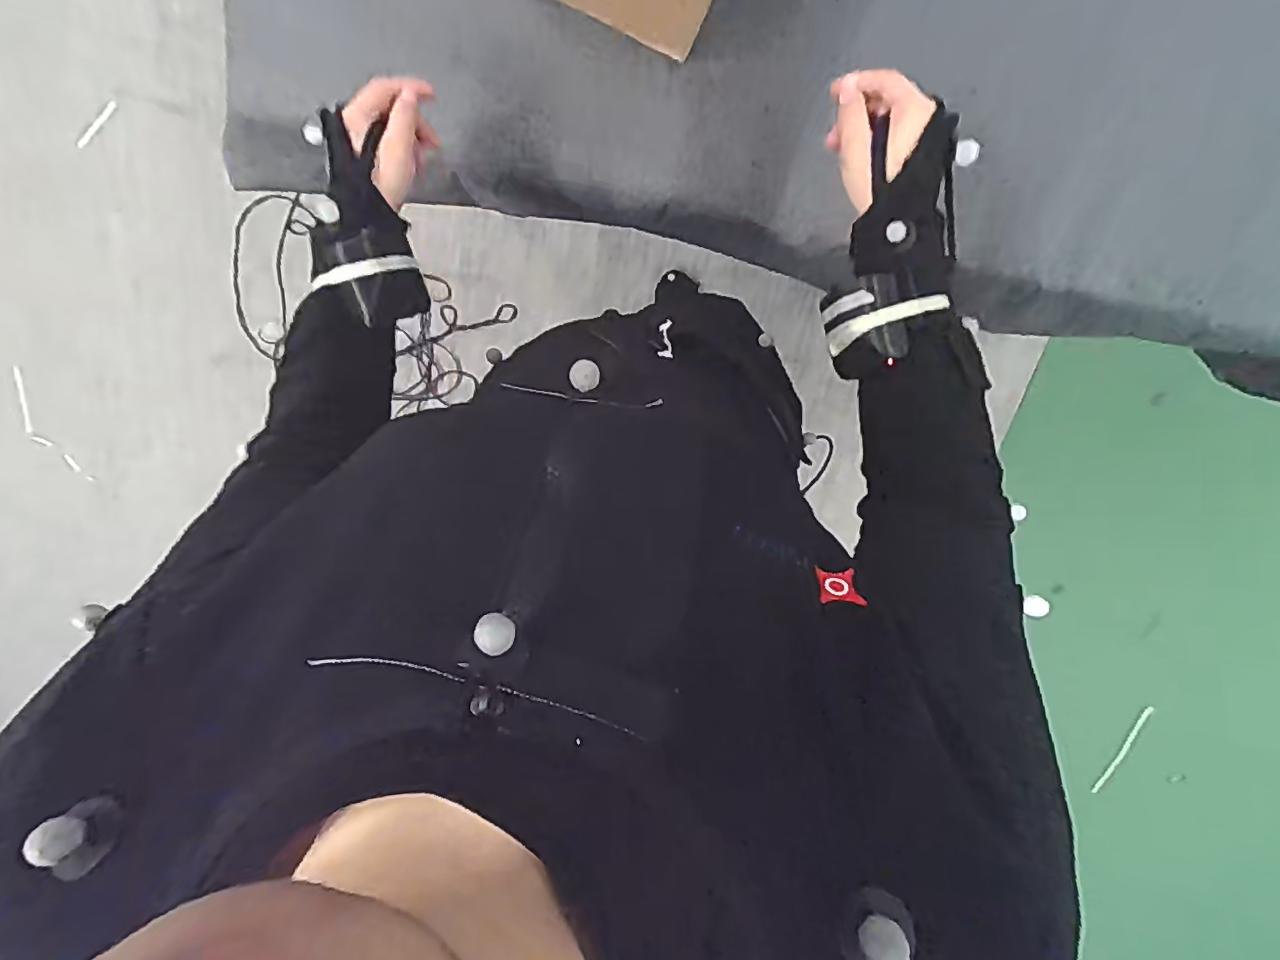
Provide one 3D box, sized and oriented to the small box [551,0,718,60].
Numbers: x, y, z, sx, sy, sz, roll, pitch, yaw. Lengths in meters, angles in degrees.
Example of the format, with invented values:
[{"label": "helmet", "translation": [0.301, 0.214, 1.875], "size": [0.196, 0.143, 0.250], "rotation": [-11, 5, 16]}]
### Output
[{"label": "small box", "translation": [-0.007, -0.452, 0.389], "size": [0.179, 0.176, 0.168], "rotation": [25, 109, -4]}]
